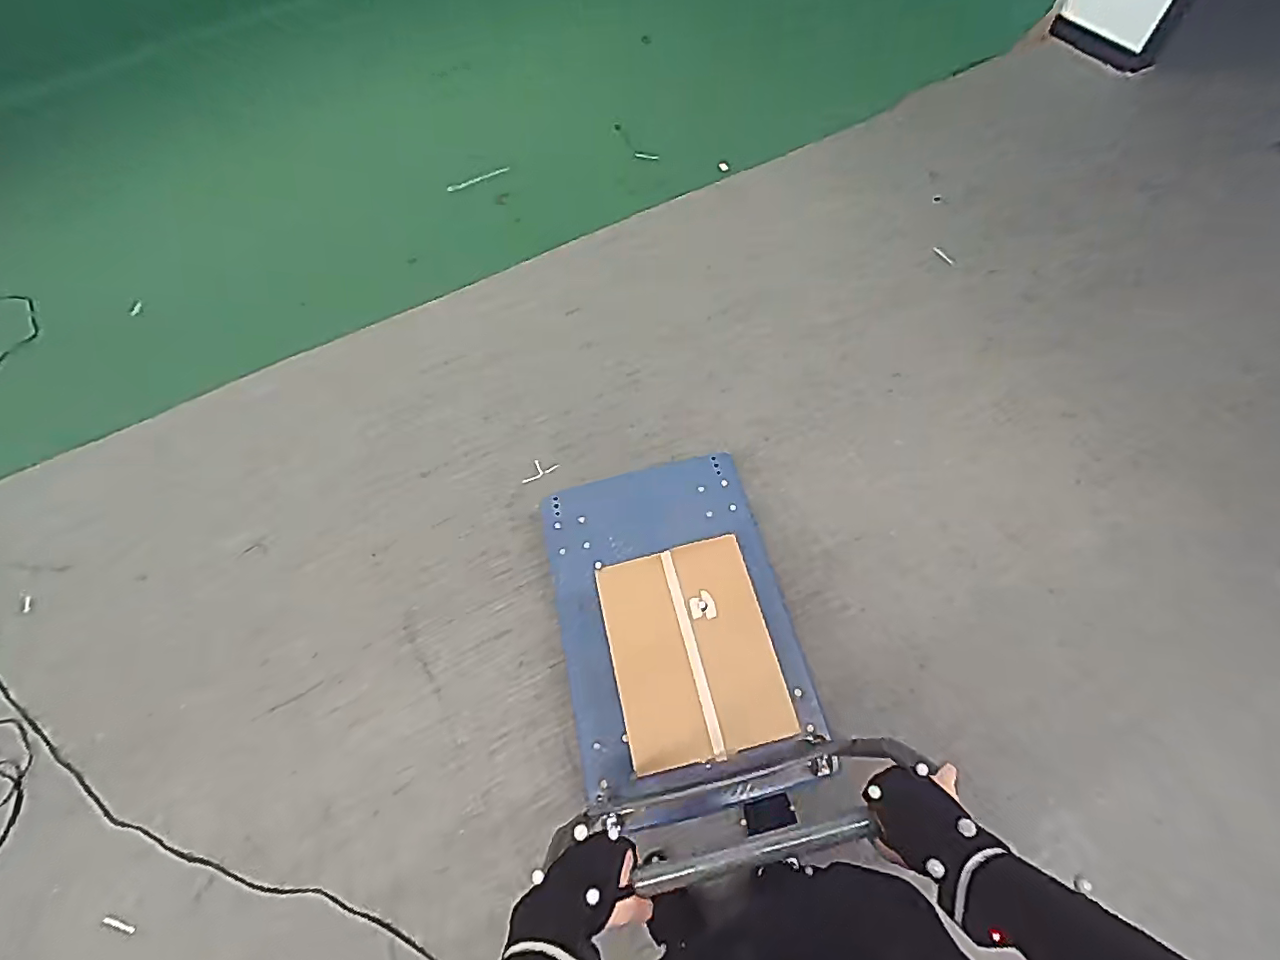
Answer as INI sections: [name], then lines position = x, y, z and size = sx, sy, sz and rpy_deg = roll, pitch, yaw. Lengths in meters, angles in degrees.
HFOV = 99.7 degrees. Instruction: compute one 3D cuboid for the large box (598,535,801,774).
[large box]
position = 0.119, 0.393, 1.202
size = 0.320, 0.320, 0.408
rpy_deg = -14, 62, -1
